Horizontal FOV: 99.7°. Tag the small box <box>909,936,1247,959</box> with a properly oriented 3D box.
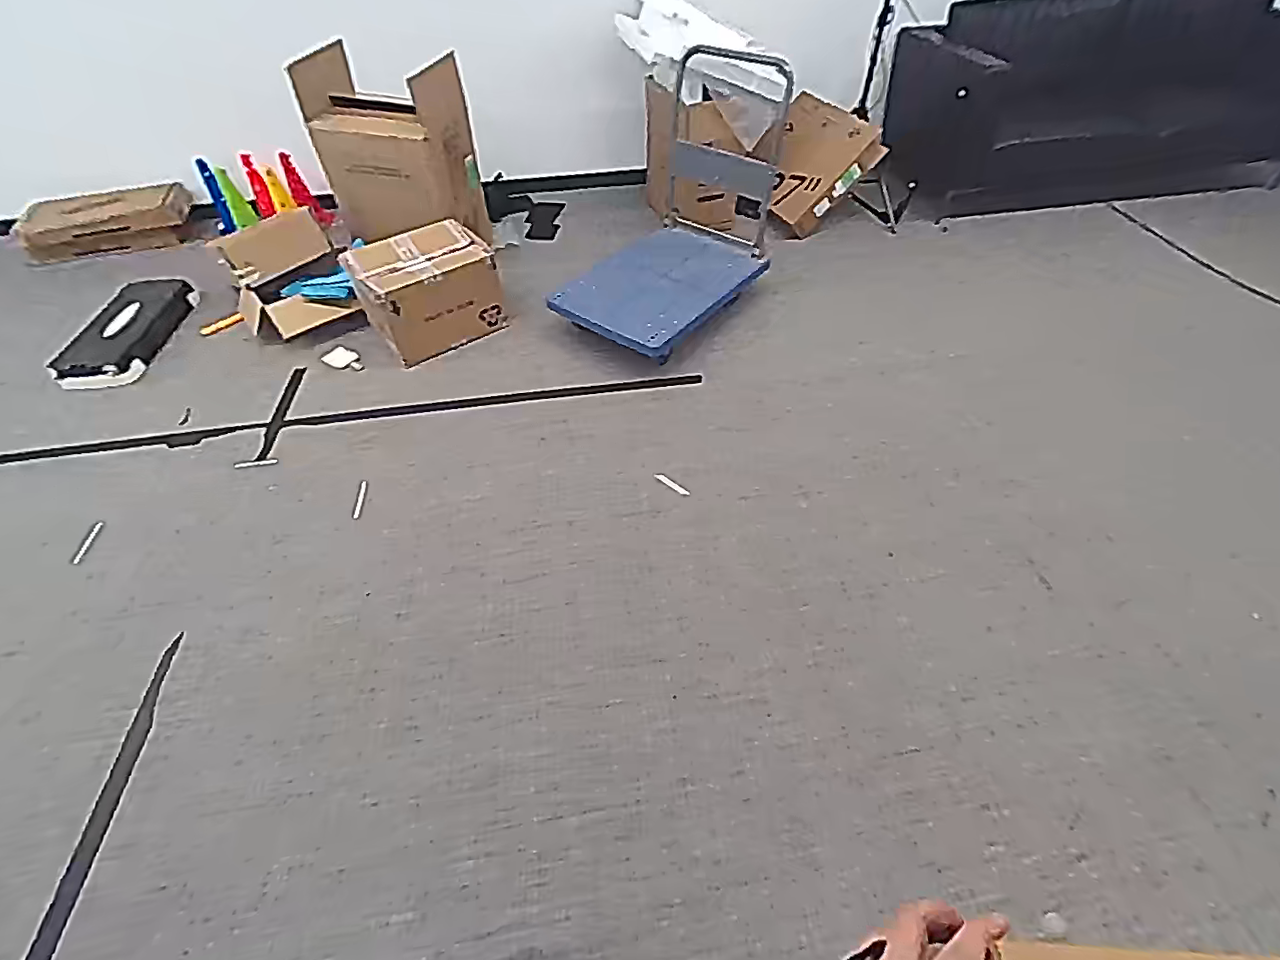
[{"bbox_3d":[0.271,0.367,0.292,0.168,0.176,0.179,-1,50,6],"label":"small box"}]
